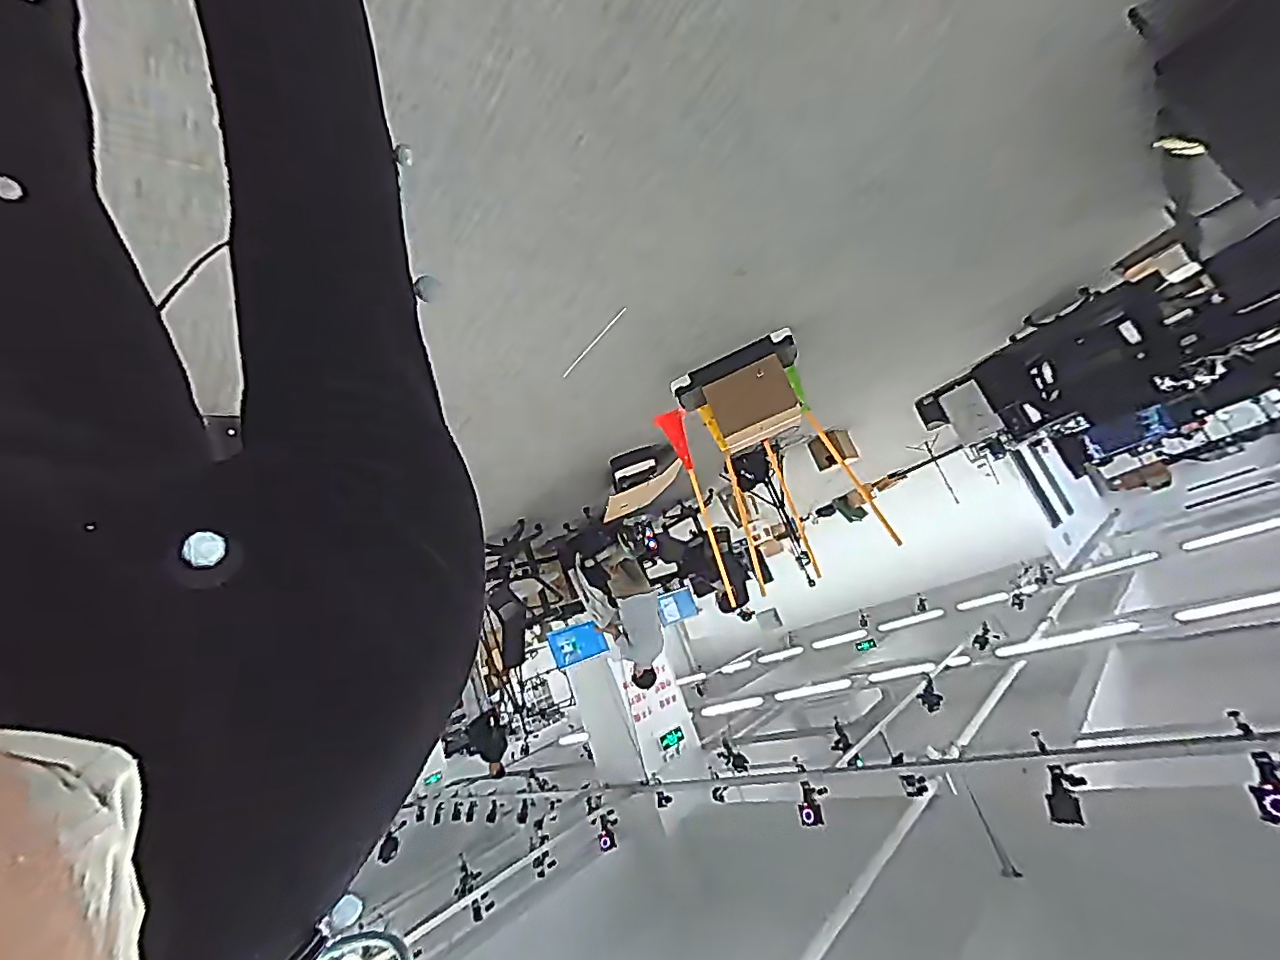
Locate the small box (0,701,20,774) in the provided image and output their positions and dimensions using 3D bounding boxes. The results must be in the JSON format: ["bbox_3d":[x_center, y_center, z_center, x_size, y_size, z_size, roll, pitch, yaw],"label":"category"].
[{"bbox_3d":[-1.602,0.626,1.261,0.168,0.176,0.179,-12,164,-36],"label":"small box"}]

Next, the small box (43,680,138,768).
[{"bbox_3d":[-1.591,0.702,1.564,0.168,0.176,0.179,-32,162,35],"label":"small box"}]
